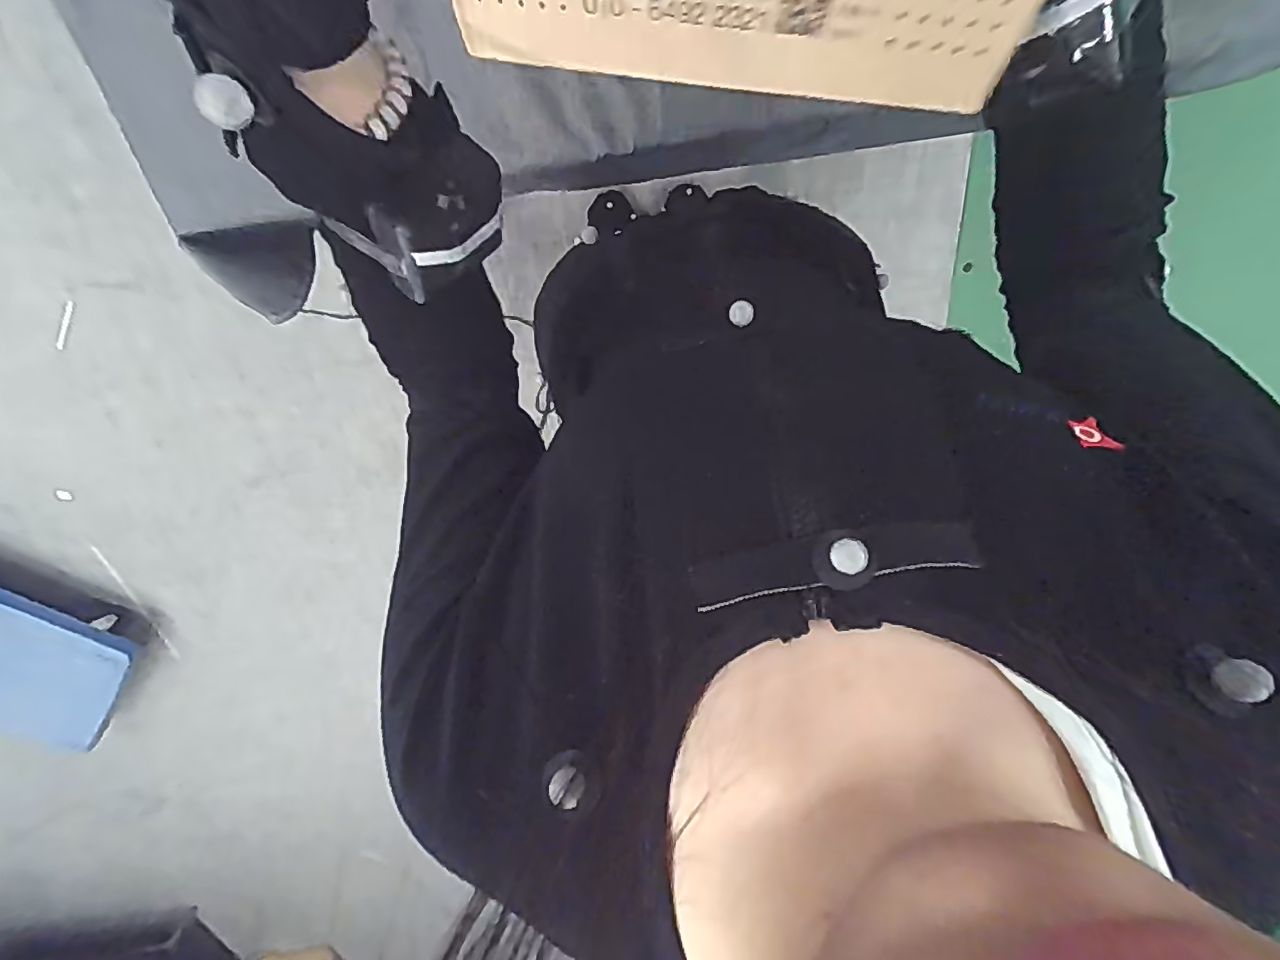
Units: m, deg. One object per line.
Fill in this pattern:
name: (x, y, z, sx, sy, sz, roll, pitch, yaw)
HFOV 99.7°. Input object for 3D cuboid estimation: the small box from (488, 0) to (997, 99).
small box: (0.037, -0.241, 0.128, 0.168, 0.179, 0.176, 9, 163, 2)
